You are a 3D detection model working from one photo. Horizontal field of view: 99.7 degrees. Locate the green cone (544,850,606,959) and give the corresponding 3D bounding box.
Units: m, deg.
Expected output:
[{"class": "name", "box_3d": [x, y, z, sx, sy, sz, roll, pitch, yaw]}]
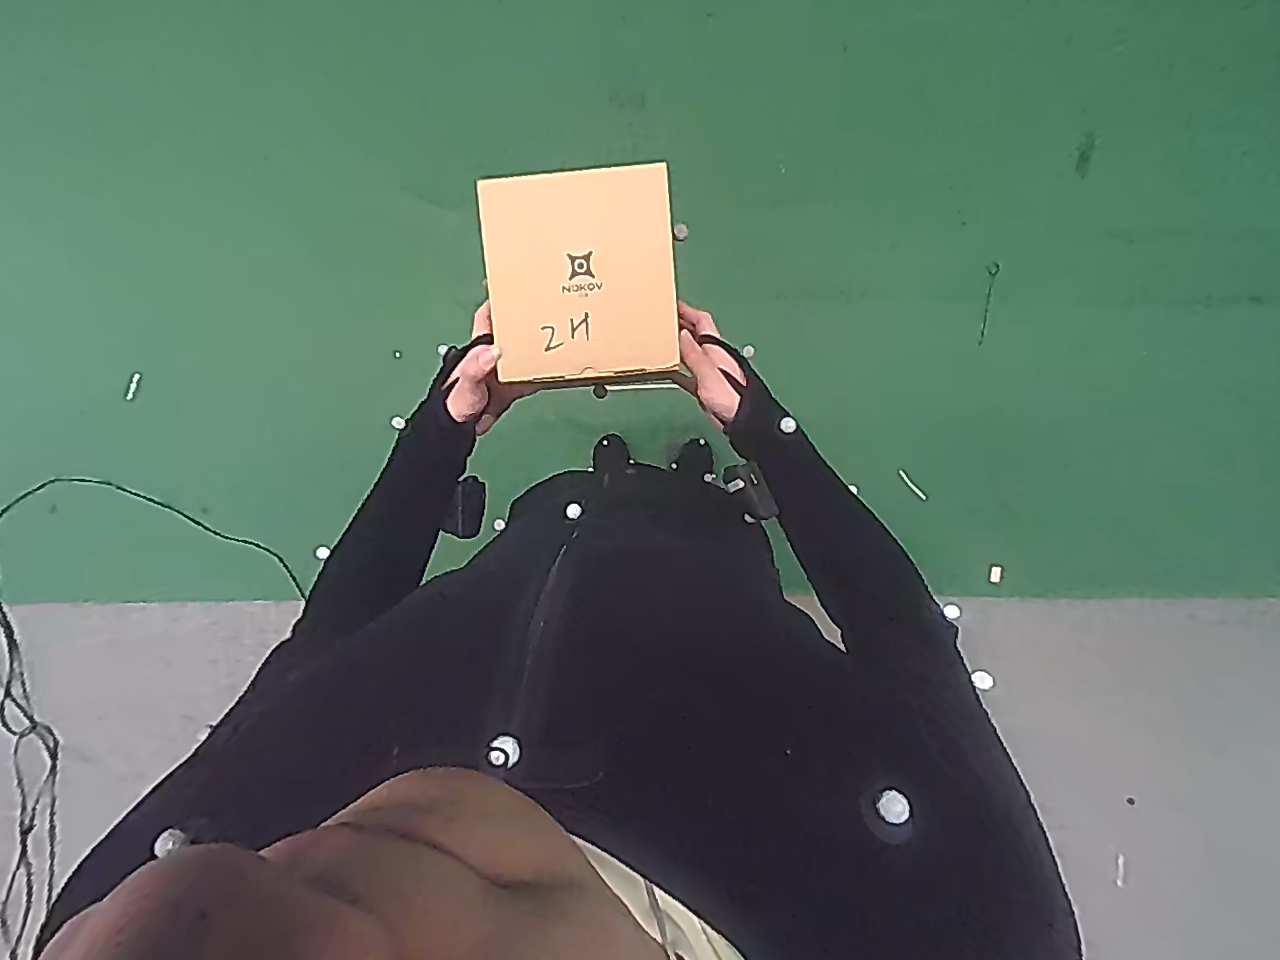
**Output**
[{"class": "green cone", "box_3d": [-0.219, 1.315, 1.589, 0.202, 0.368, 0.200, 1, 95, 2]}]
